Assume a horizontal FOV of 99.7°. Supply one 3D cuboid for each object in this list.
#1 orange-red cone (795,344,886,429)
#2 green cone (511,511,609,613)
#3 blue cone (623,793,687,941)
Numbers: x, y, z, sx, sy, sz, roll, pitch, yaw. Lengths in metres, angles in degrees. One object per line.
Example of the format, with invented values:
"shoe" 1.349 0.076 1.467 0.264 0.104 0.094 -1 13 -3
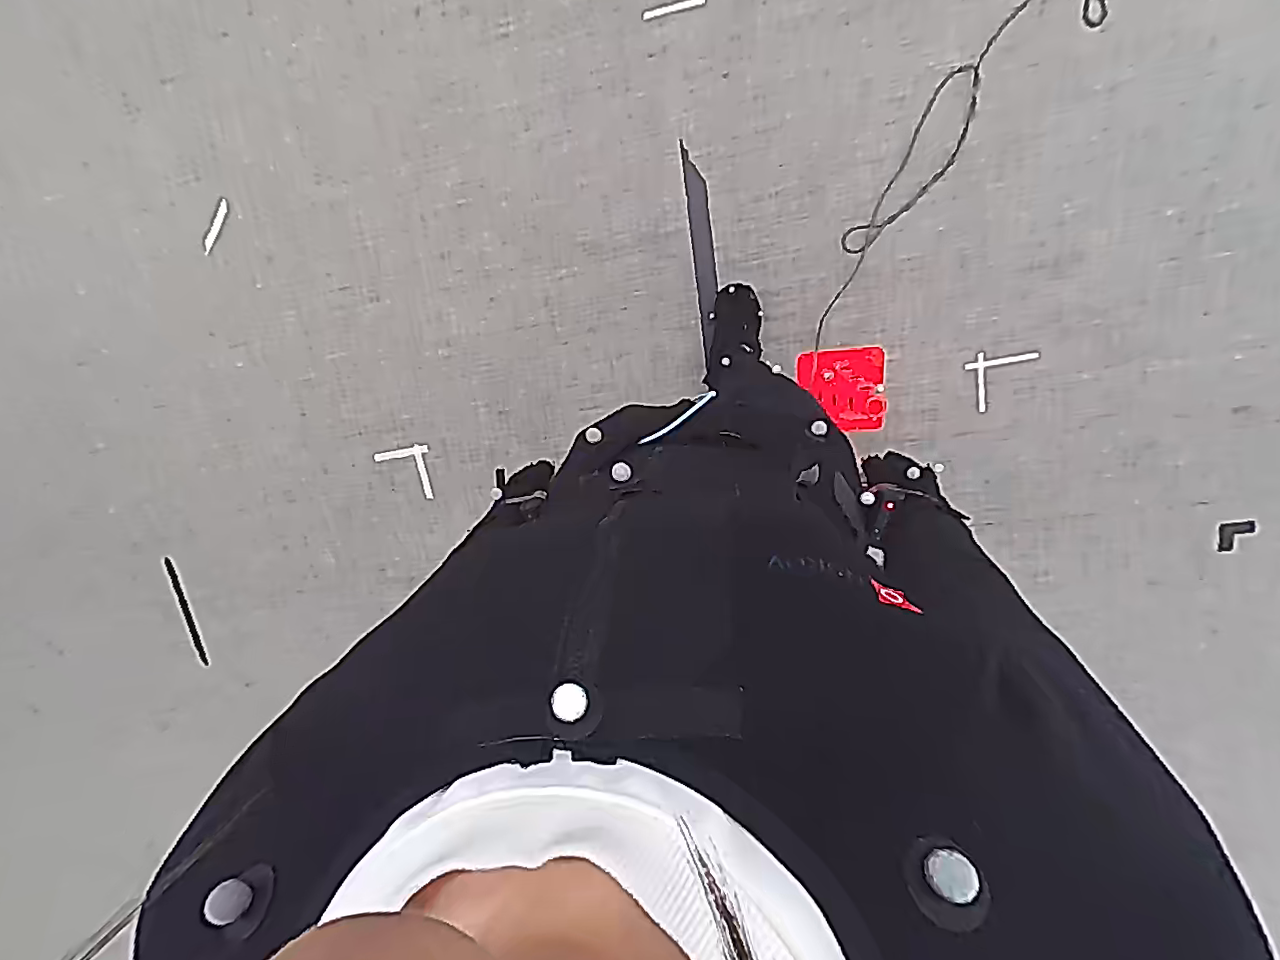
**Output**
"orange-red cone" 0.451 -0.178 1.133 0.199 0.360 0.198 -2 104 9
"green cone" -0.224 0.225 1.345 0.202 0.368 0.200 -6 102 12
"blue cone" 0.018 1.094 1.524 0.192 0.380 0.193 -2 103 11
